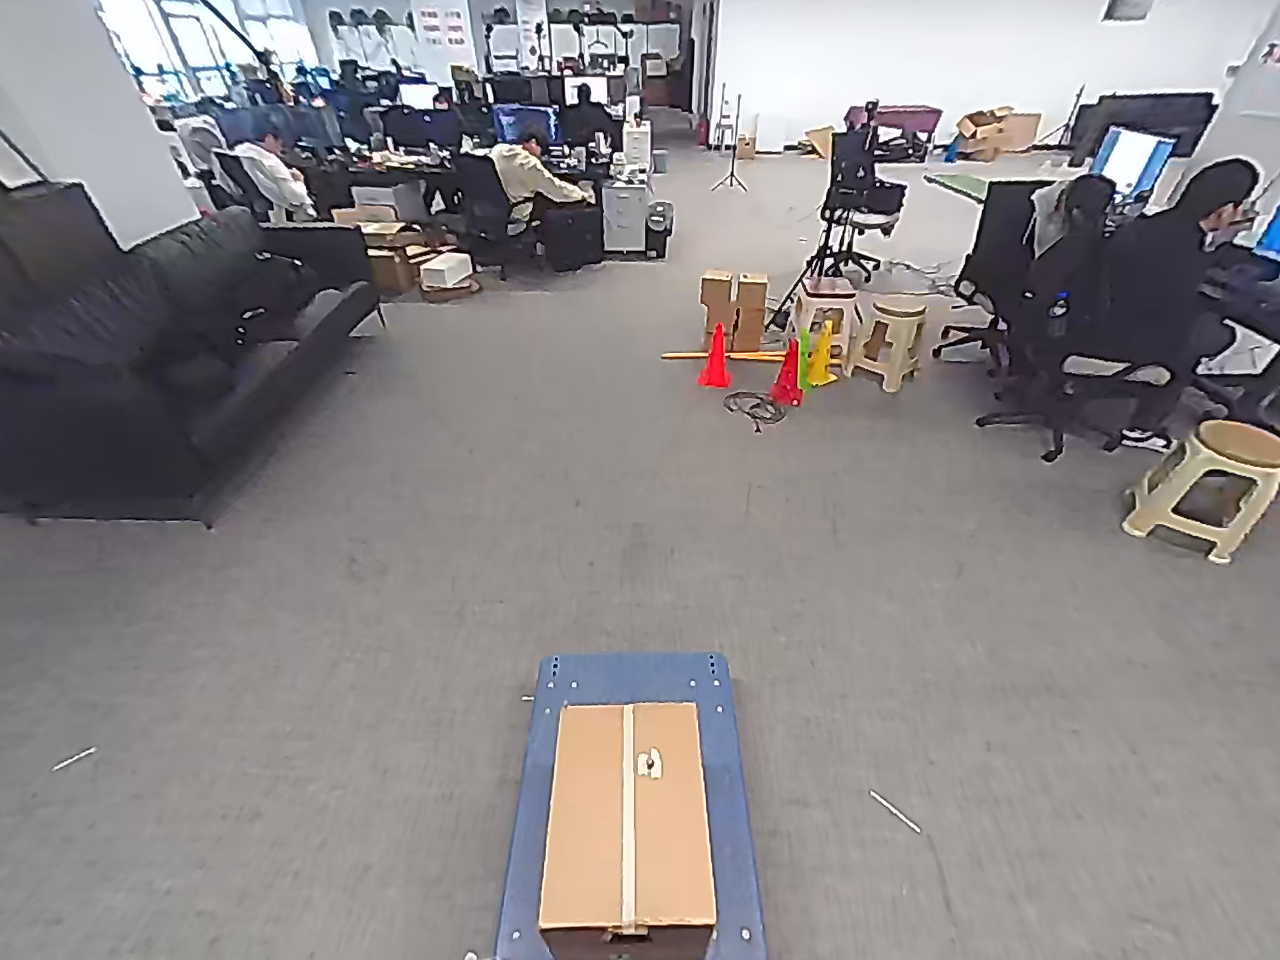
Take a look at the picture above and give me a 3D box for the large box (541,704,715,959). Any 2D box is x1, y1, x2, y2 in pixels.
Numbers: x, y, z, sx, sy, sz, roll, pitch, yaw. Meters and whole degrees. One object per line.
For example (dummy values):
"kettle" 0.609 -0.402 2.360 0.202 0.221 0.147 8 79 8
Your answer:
"large box" -0.023 0.765 1.188 0.320 0.320 0.408 -1 39 0
